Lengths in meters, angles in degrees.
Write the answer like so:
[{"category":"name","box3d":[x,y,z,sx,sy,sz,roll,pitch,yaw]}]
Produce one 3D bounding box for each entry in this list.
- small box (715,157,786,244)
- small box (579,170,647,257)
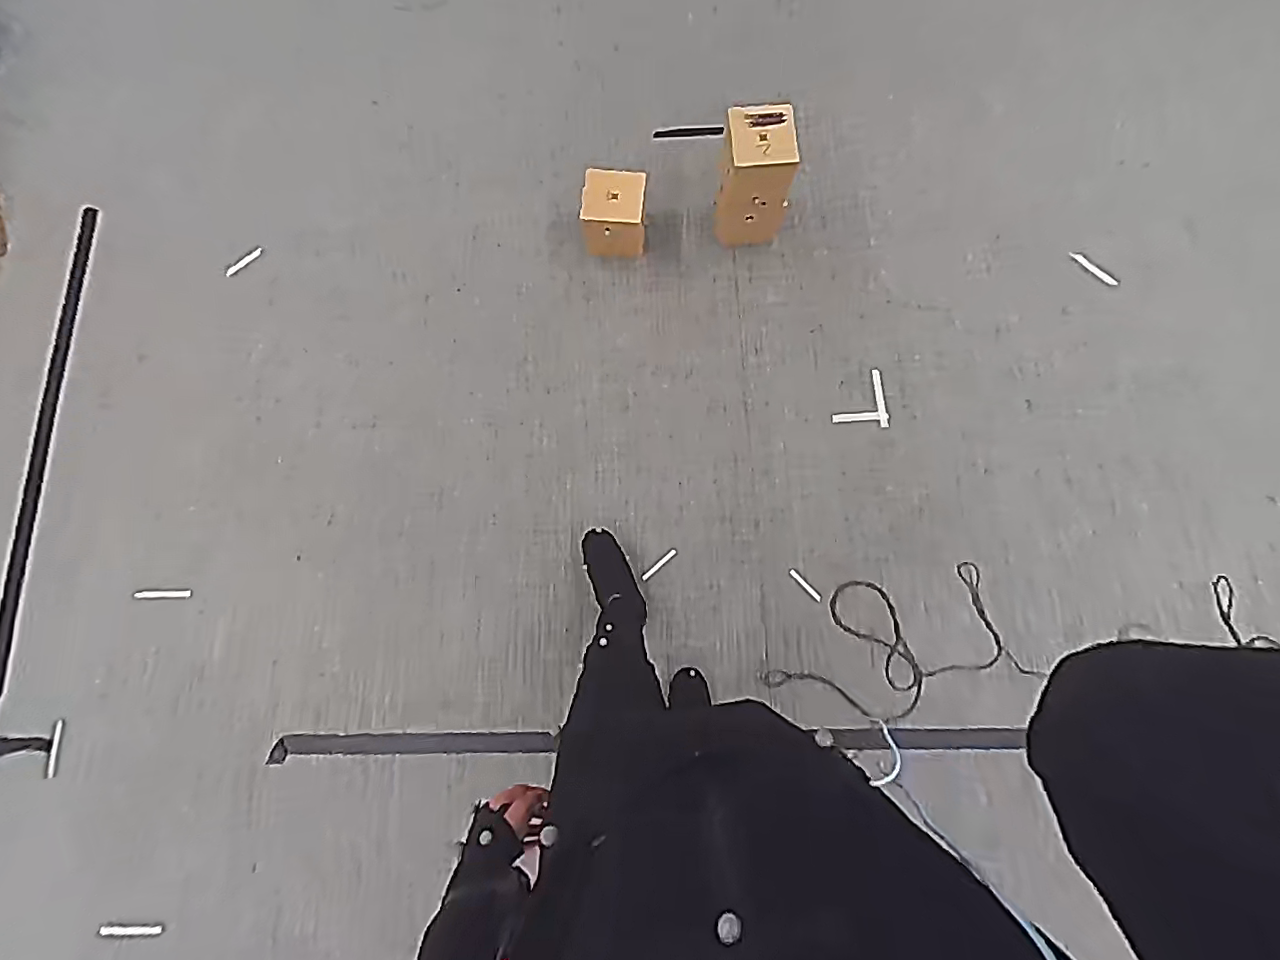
[{"category":"small box","box3d":[0.320,-0.822,1.604,0.179,0.176,0.168,-3,79,0]},{"category":"small box","box3d":[-0.074,-0.785,1.606,0.179,0.176,0.168,5,79,3]}]
